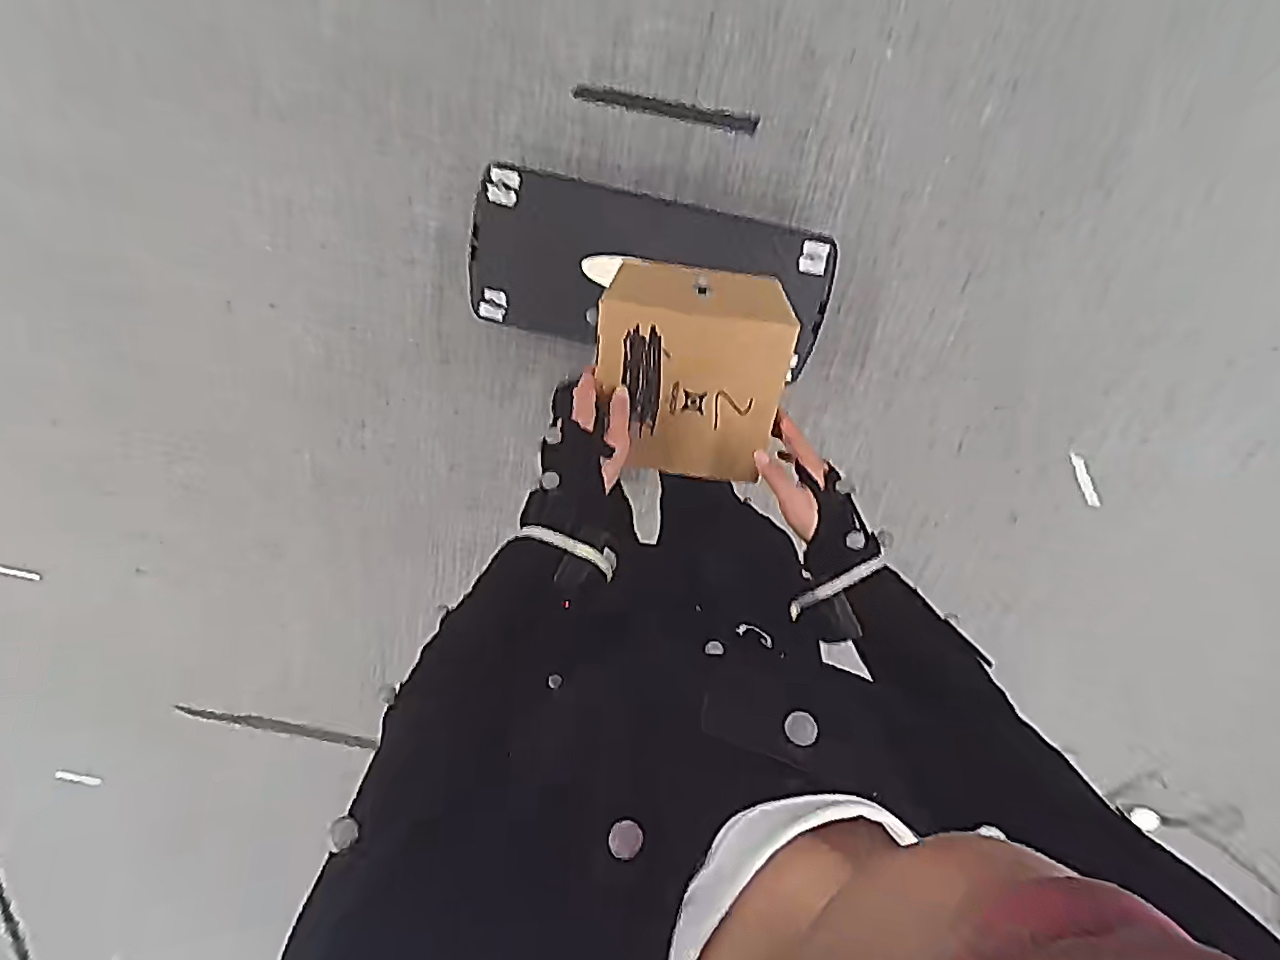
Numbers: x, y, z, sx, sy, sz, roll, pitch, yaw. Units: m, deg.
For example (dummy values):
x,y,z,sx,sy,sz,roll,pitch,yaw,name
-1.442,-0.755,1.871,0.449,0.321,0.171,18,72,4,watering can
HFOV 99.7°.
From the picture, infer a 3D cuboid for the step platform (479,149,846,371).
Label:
x,y,z,sx,sy,sz,roll,pitch,yaw,name
0.038,-0.420,1.066,0.684,0.204,0.286,12,110,-1,step platform
